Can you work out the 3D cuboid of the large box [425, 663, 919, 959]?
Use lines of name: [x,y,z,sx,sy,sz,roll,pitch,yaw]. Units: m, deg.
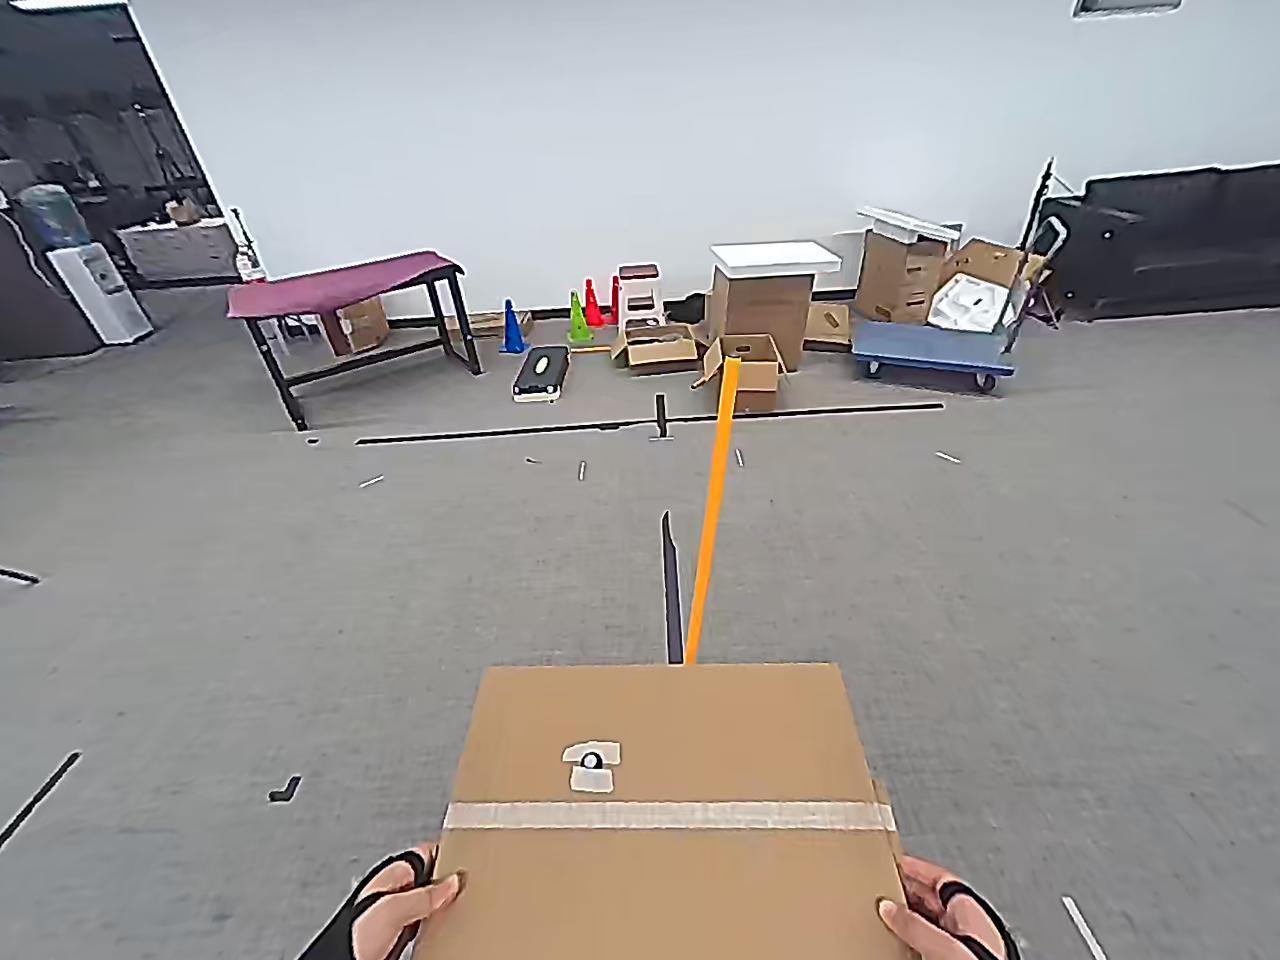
large box: [0.036,0.433,0.604,0.408,0.320,0.320,-3,39,4]
